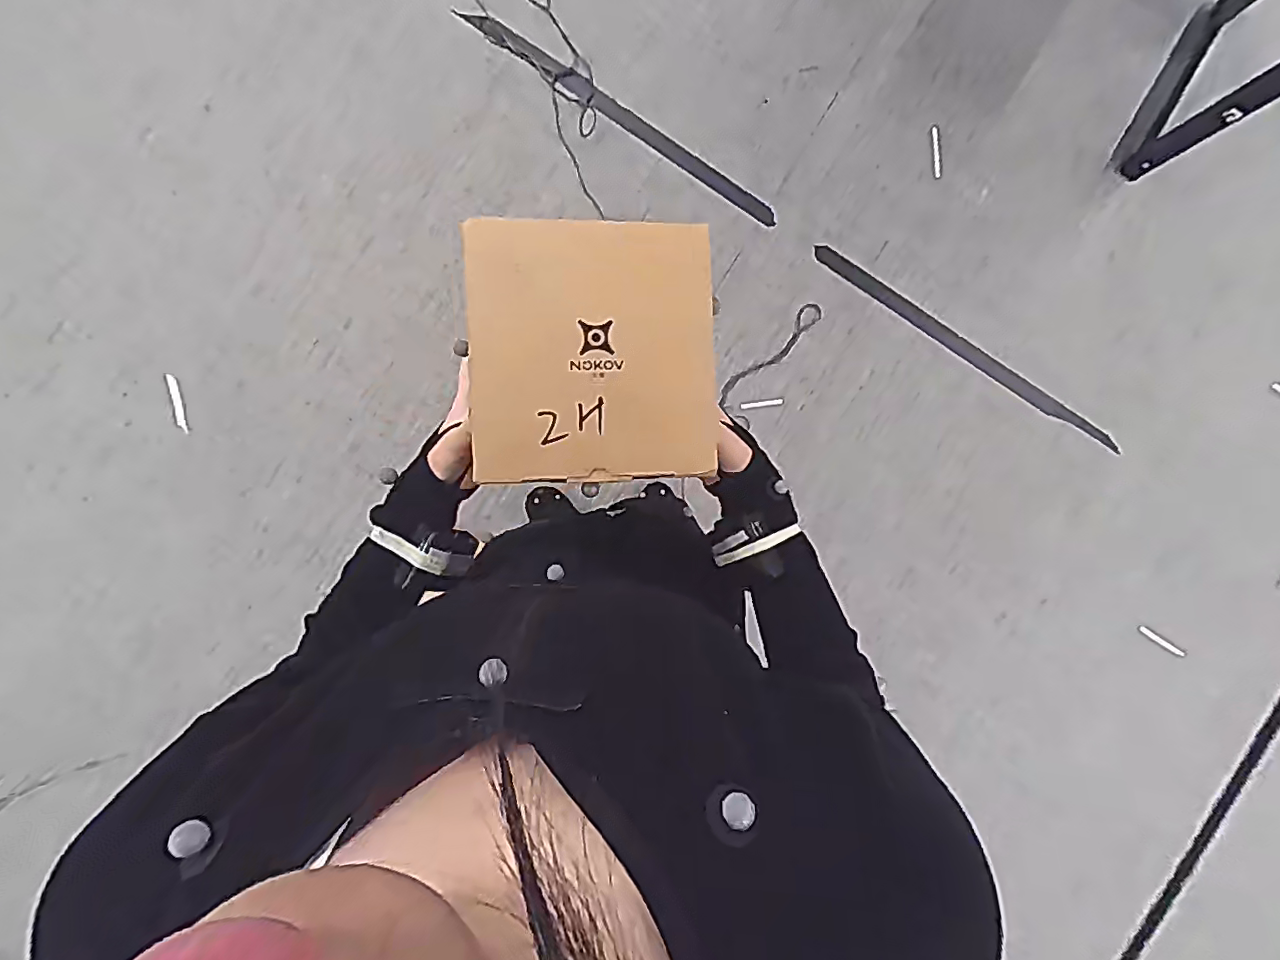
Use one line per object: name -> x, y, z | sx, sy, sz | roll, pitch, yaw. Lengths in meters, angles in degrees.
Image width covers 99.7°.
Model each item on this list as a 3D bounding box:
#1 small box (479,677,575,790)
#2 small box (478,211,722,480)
small box -> -0.283, 0.650, 1.410 | 0.179, 0.176, 0.168 | 40, 89, -4
small box -> -0.037, -0.089, 0.440 | 0.168, 0.176, 0.179 | -1, 91, -9
